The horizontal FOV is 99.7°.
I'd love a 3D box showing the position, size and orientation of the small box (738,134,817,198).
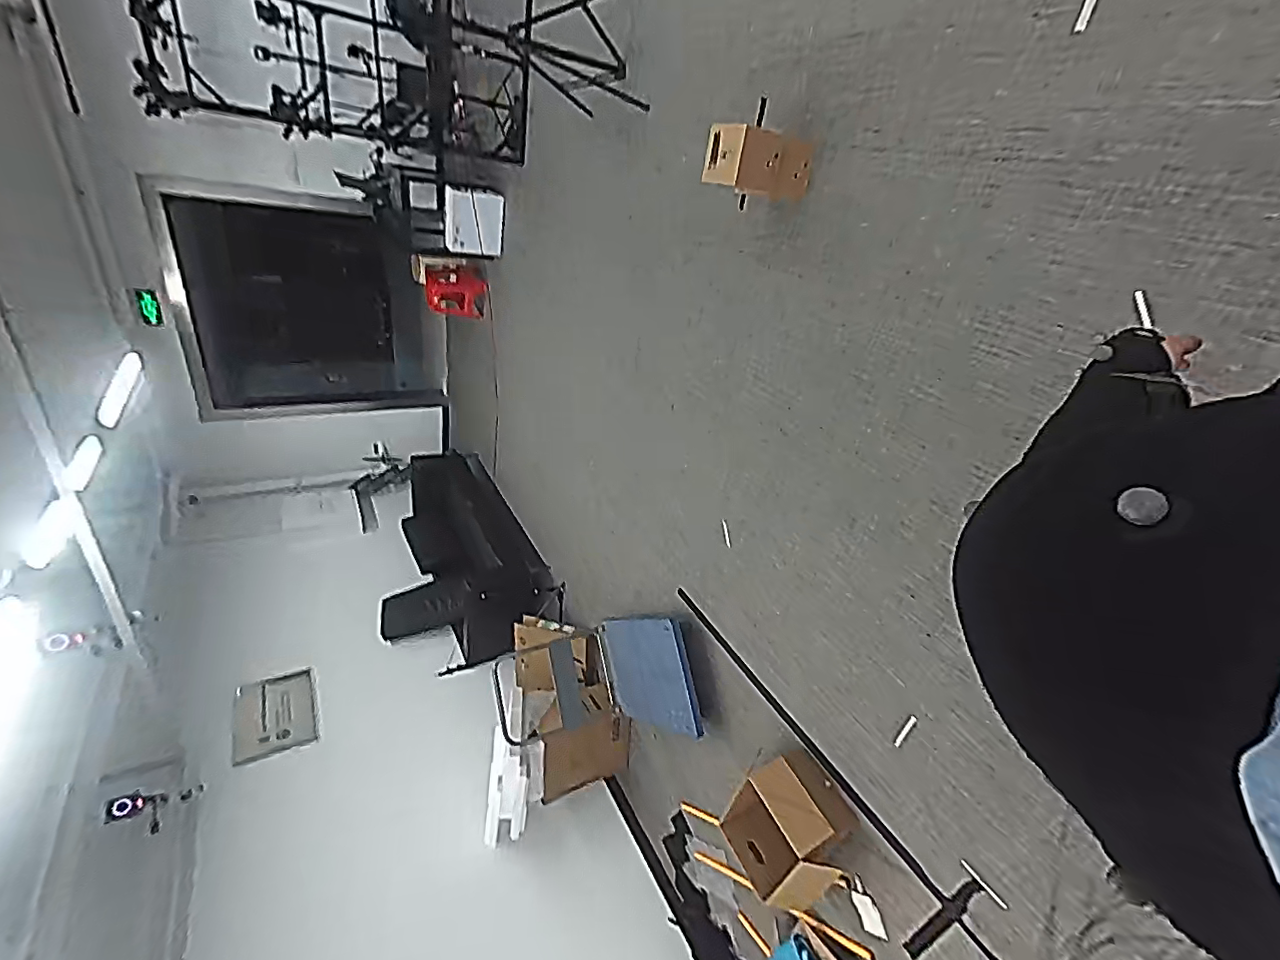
[{"bbox_3d":[0.464,-1.060,1.837,0.179,0.176,0.168,39,130,49],"label":"small box"}]
